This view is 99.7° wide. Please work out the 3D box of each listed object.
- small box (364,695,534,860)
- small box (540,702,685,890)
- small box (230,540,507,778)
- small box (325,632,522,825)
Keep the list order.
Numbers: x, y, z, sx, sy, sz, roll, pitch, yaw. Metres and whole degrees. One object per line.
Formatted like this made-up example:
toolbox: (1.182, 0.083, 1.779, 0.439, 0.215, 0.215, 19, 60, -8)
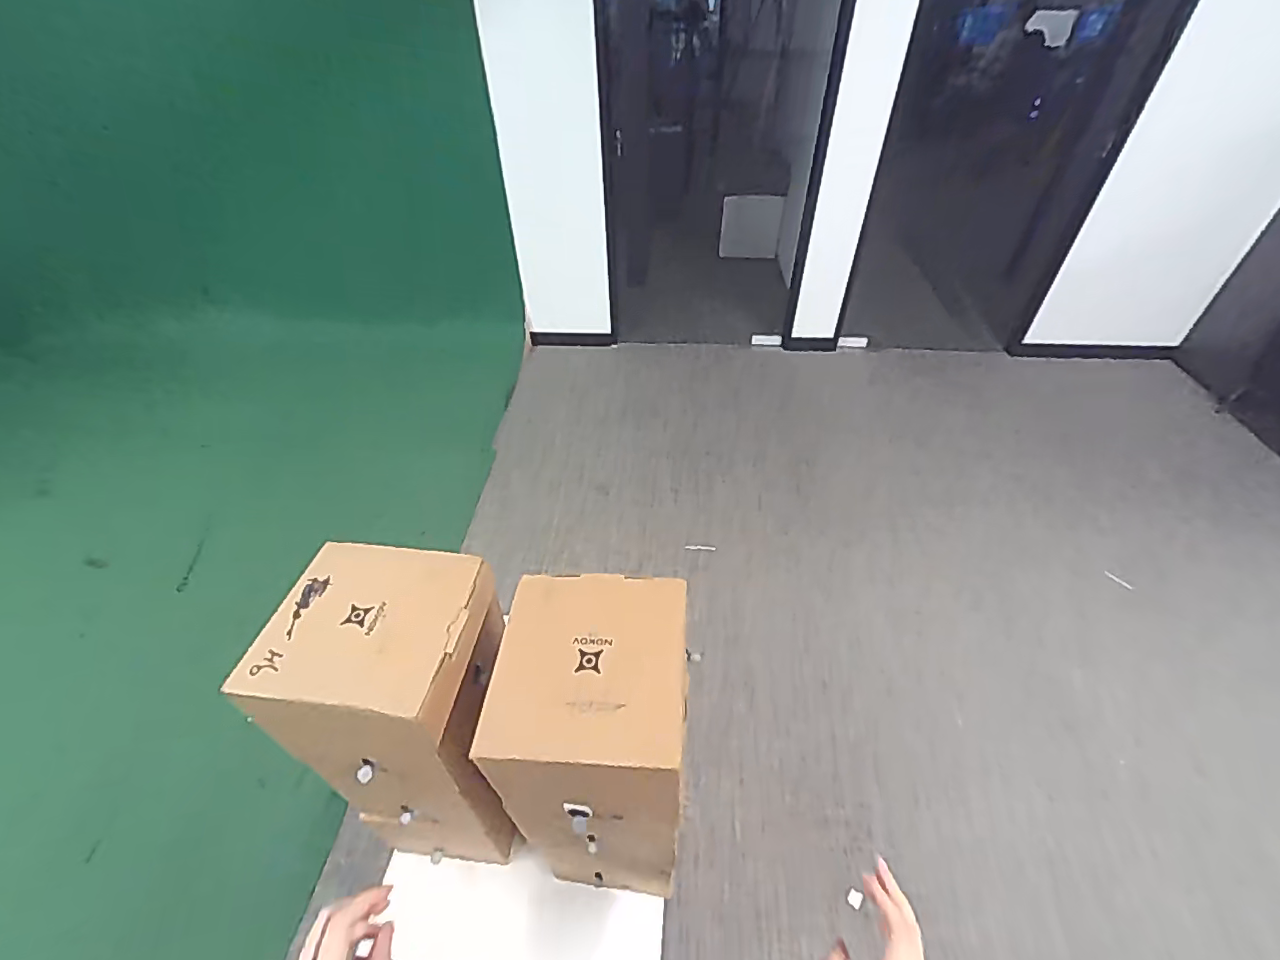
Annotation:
small box: (-0.259, 0.421, 0.786, 0.168, 0.176, 0.179, 5, 45, 5)
small box: (-0.029, 0.442, 0.760, 0.168, 0.176, 0.179, 4, 44, 7)
small box: (-0.250, 0.186, 0.557, 0.179, 0.176, 0.168, 6, 44, 5)
small box: (-0.254, 0.299, 0.676, 0.168, 0.176, 0.179, 5, 44, 6)
